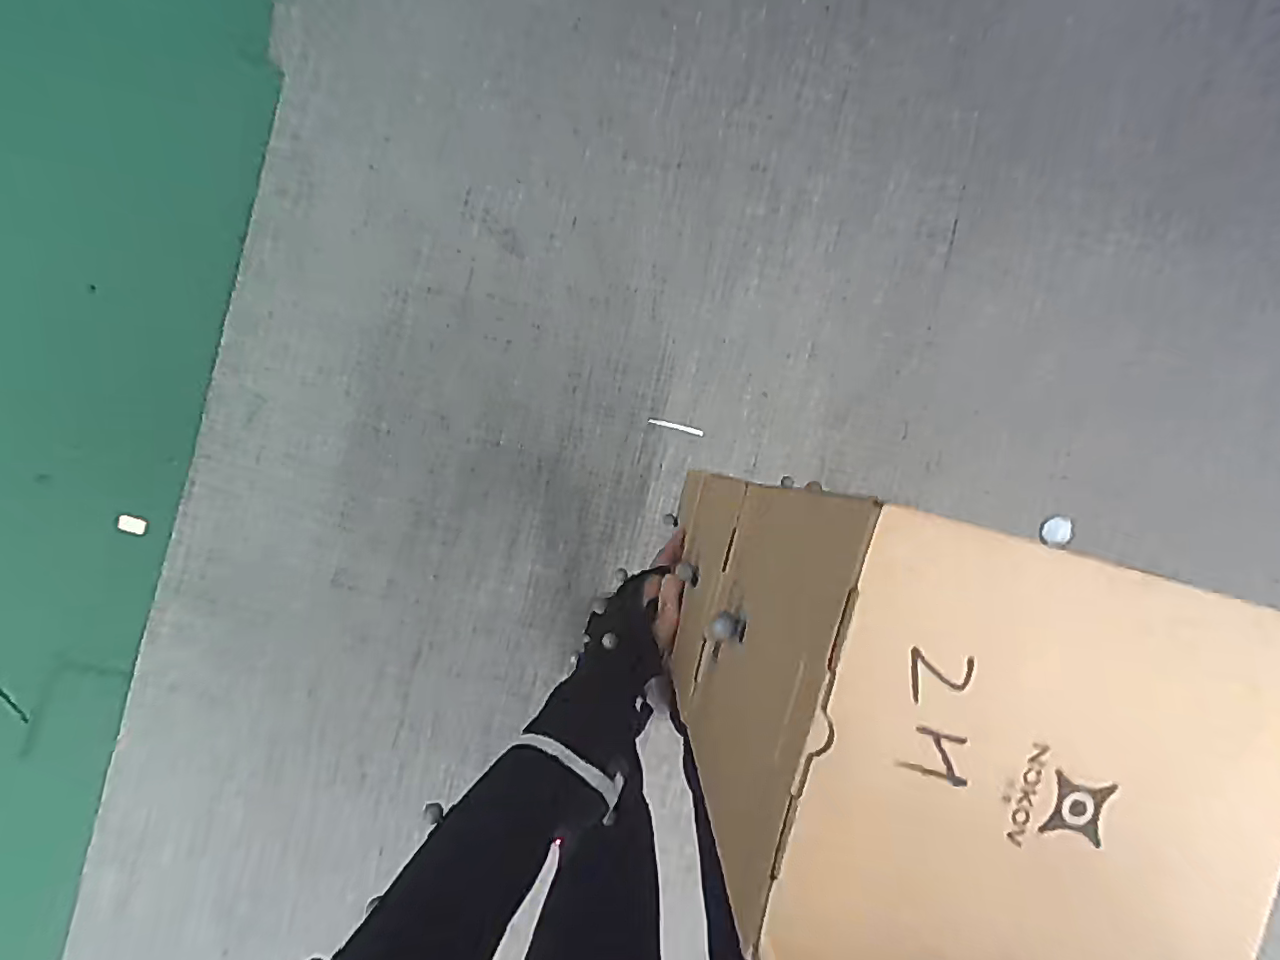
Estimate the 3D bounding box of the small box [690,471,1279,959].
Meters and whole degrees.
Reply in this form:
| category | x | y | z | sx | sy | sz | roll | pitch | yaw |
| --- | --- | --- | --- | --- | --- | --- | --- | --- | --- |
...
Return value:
| category | x | y | z | sx | sy | sz | roll | pitch | yaw |
| --- | --- | --- | --- | --- | --- | --- | --- | --- | --- |
| small box | 0.136 | 0.094 | 0.278 | 0.179 | 0.176 | 0.168 | 16 | 90 | -1 |

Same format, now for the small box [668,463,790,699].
| category | x | y | z | sx | sy | sz | roll | pitch | yaw |
| --- | --- | --- | --- | --- | --- | --- | --- | --- | --- |
| small box | 0.126 | 0.088 | 0.443 | 0.179 | 0.176 | 0.168 | 15 | 92 | -1 |

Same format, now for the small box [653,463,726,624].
| category | x | y | z | sx | sy | sz | roll | pitch | yaw |
| --- | --- | --- | --- | --- | --- | --- | --- | --- | --- |
| small box | 0.119 | 0.078 | 0.608 | 0.179 | 0.176 | 0.168 | 14 | 91 | -1 |
